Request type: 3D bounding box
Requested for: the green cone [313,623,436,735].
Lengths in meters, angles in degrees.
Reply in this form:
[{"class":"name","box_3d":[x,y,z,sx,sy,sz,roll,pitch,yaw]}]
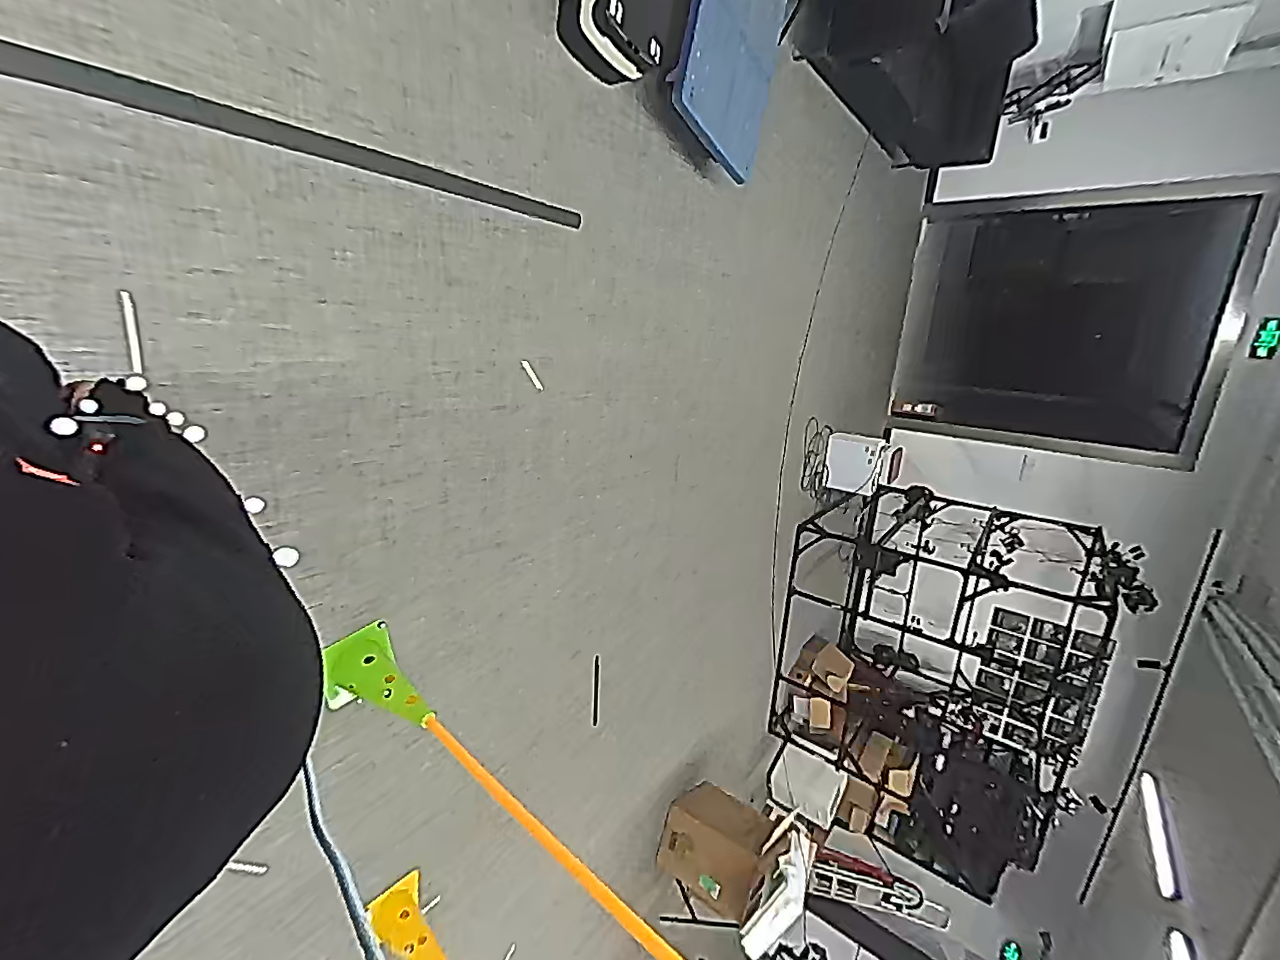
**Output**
[{"class":"green cone","box_3d":[-0.666,0.564,1.426,0.200,0.368,0.202,-29,126,-46]}]
